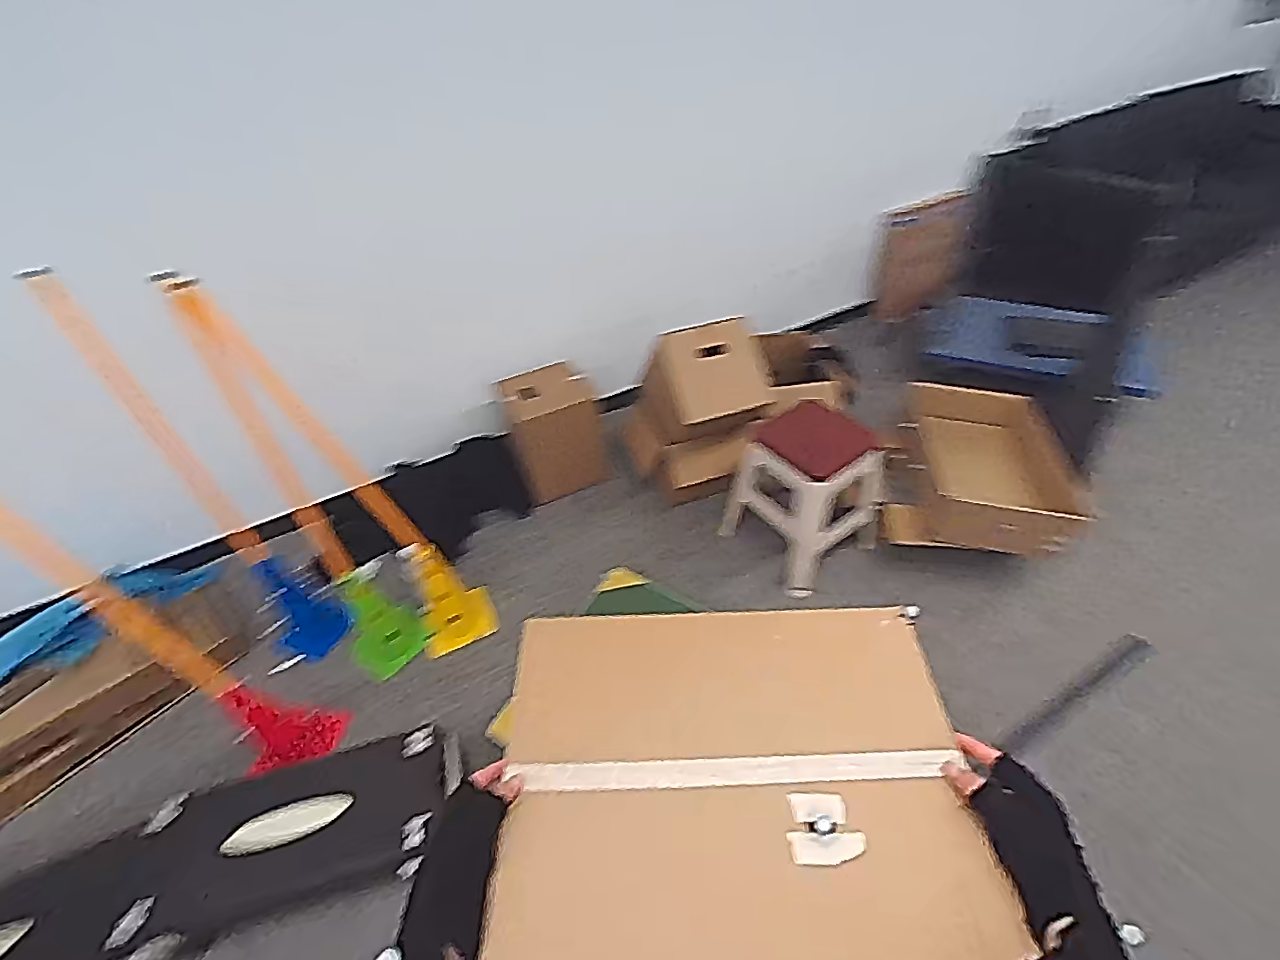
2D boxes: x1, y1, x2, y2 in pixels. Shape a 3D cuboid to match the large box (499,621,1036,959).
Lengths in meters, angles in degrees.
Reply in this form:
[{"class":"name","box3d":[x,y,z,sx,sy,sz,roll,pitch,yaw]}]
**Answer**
[{"class":"large box","box3d":[0.092,0.371,0.590,0.408,0.320,0.320,-1,47,1]}]
